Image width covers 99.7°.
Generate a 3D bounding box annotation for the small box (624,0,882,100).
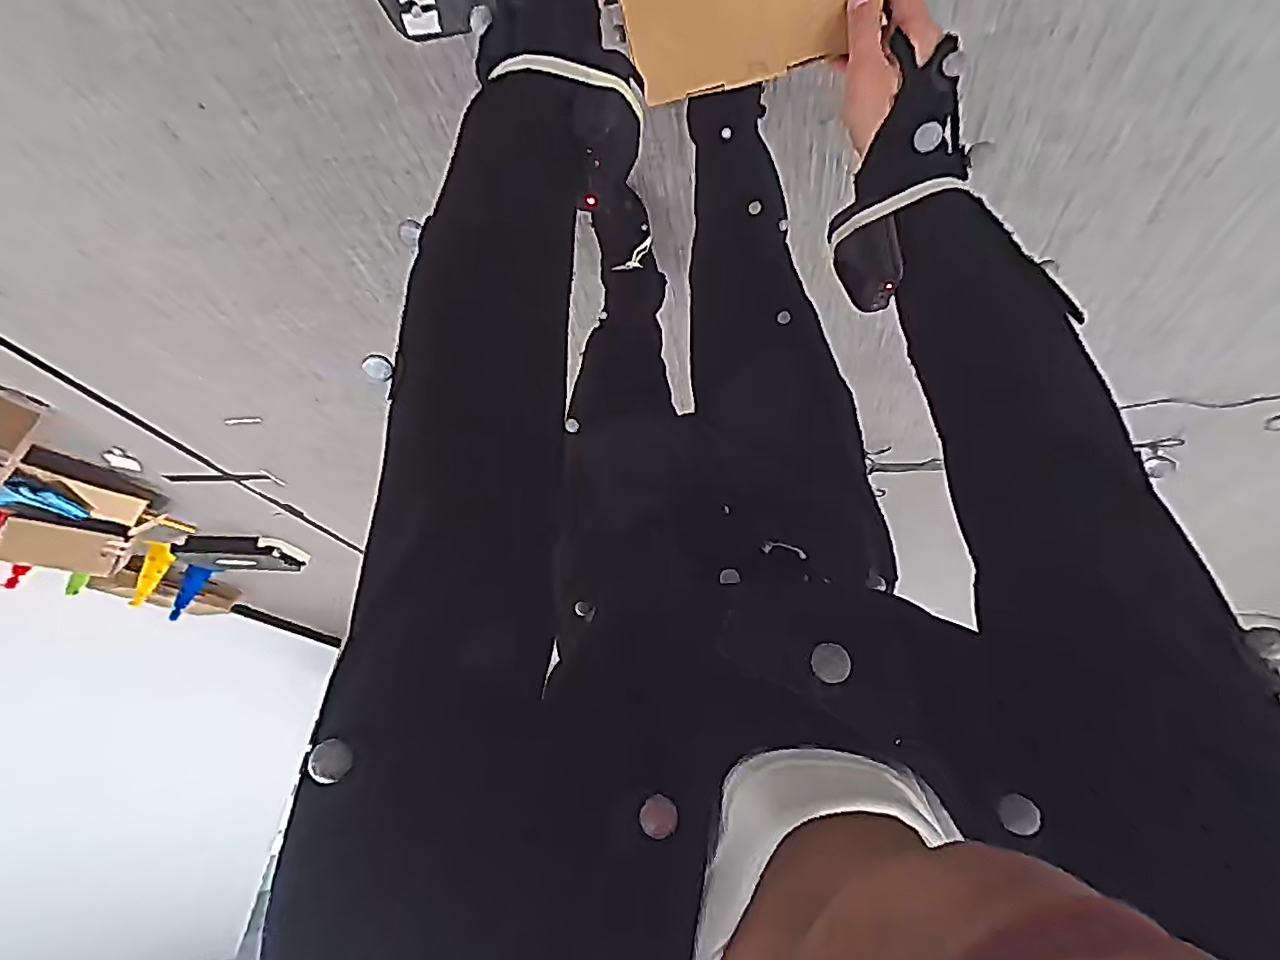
[{"bbox_3d":[0.063,-0.402,0.352,0.168,0.176,0.179,-6,150,14],"label":"small box"}]
